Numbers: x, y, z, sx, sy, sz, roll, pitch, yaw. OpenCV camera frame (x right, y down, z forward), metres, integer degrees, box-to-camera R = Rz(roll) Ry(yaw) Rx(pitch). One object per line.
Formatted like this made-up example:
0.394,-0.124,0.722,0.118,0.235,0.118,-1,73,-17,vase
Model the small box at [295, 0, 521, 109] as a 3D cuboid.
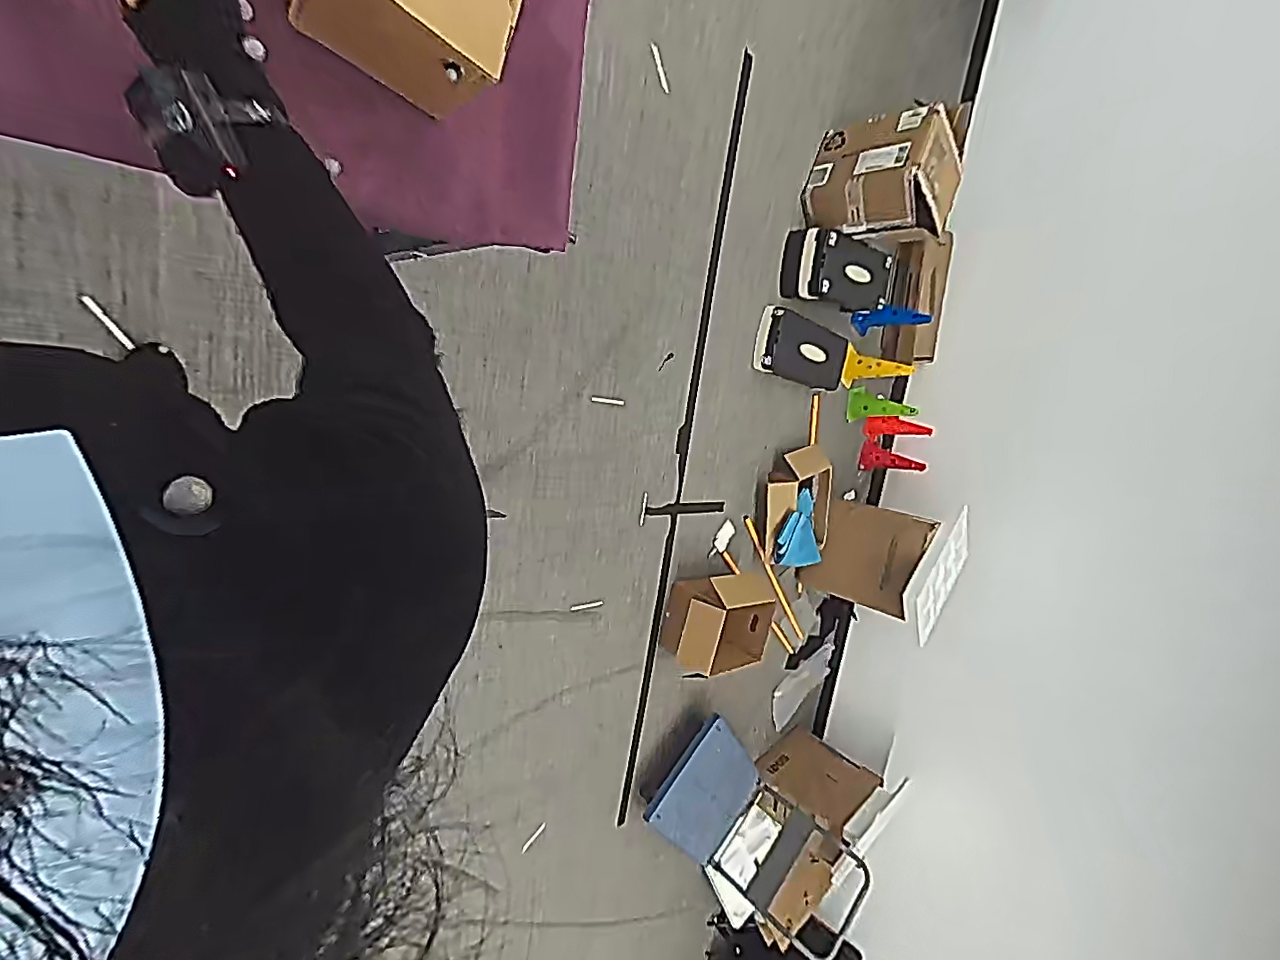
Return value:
-0.242,-0.540,0.576,0.179,0.176,0.168,12,95,-45,small box
